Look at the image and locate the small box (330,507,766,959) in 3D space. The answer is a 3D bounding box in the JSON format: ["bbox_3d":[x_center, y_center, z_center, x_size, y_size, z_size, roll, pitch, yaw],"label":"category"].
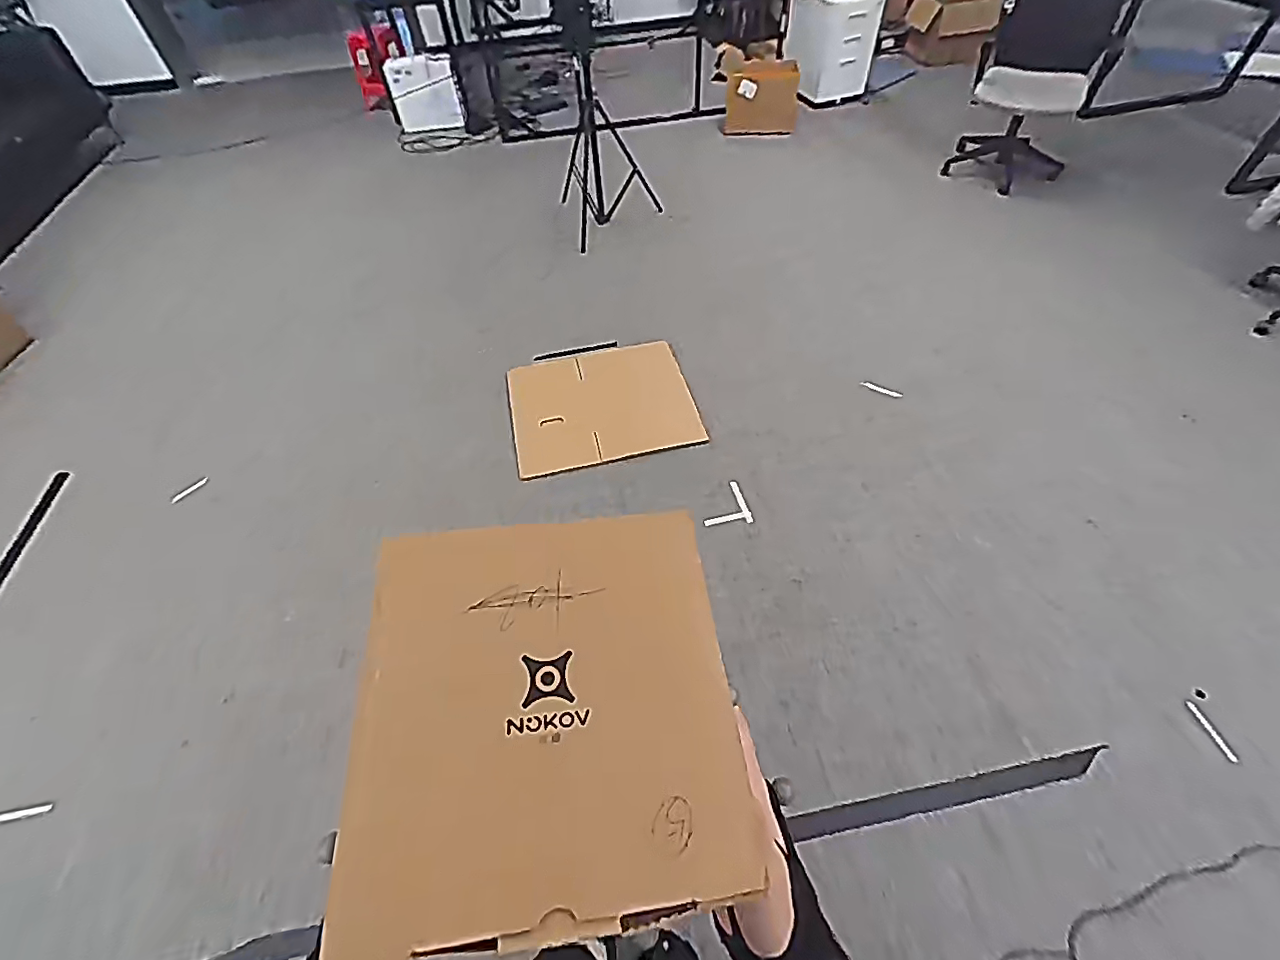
[{"bbox_3d":[-0.046,0.137,0.311,0.168,0.176,0.179,-4,54,-9],"label":"small box"}]
